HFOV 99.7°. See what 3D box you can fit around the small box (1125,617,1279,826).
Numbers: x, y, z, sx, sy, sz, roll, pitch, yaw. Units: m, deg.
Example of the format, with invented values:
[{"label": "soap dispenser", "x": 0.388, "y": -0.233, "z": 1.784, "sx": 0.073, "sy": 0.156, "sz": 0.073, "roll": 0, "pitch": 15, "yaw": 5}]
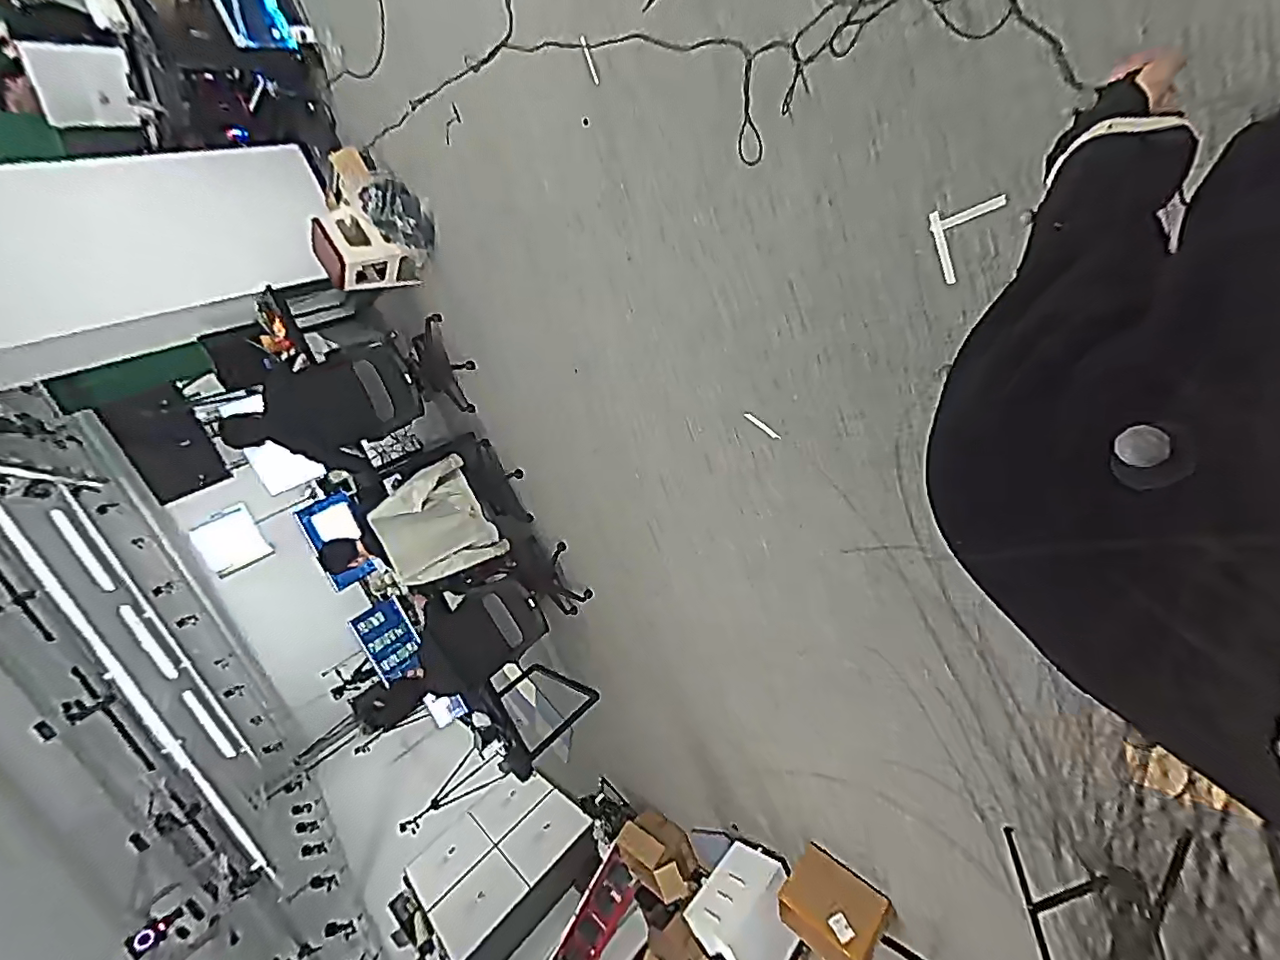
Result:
[{"label": "small box", "x": 0.779, "y": 0.313, "z": 0.731, "sx": 0.168, "sy": 0.176, "sz": 0.179, "roll": 1, "pitch": 118, "yaw": 50}]
